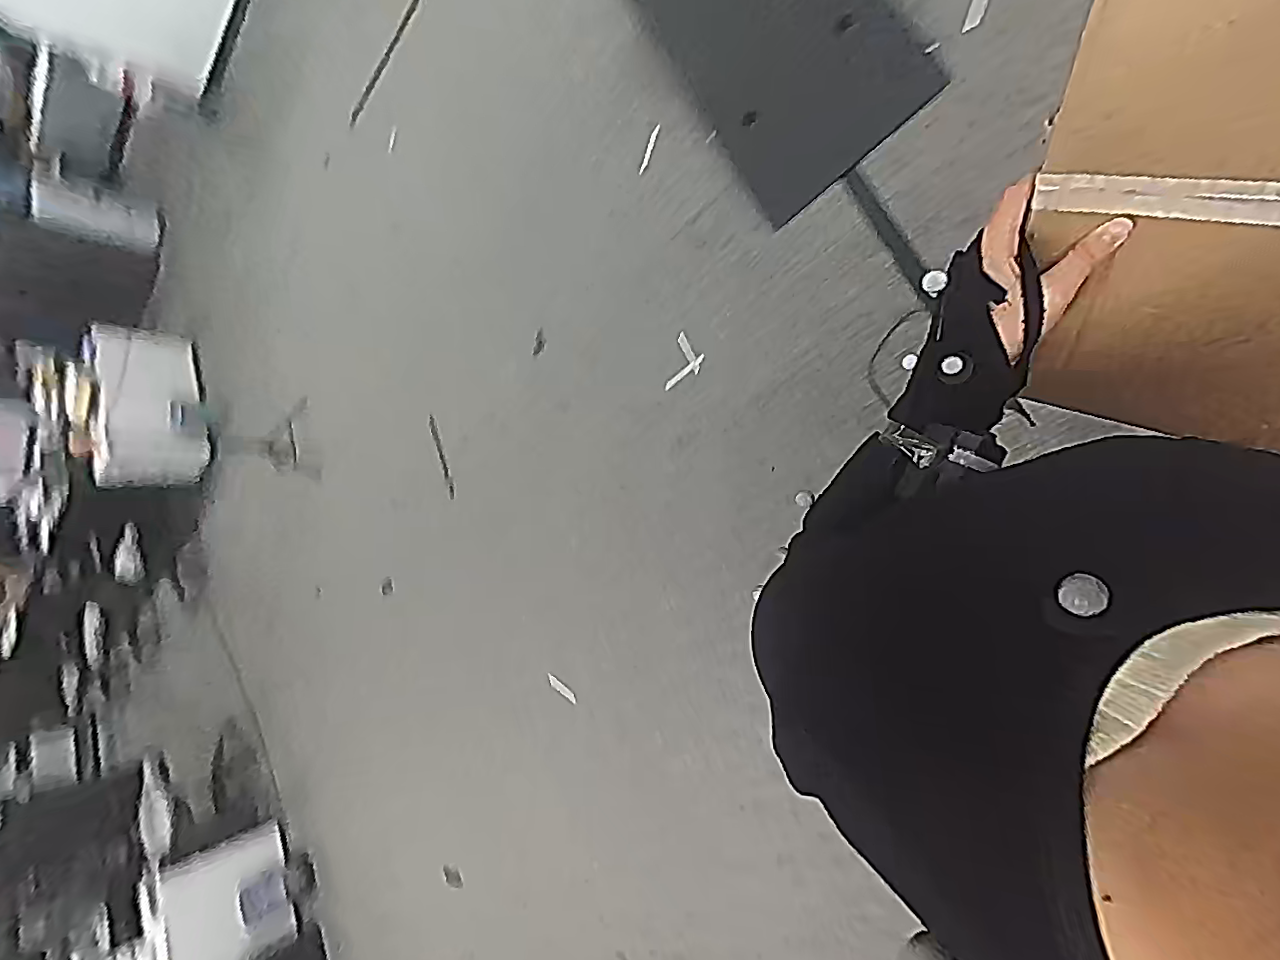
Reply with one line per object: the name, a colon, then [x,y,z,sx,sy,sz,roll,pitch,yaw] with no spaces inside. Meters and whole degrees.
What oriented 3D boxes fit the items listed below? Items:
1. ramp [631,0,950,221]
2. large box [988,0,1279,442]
ramp: [0.313,-1.251,1.433,0.509,0.206,0.991,-35,71,29]
large box: [0.489,-0.219,0.299,0.408,0.320,0.320,23,59,34]
